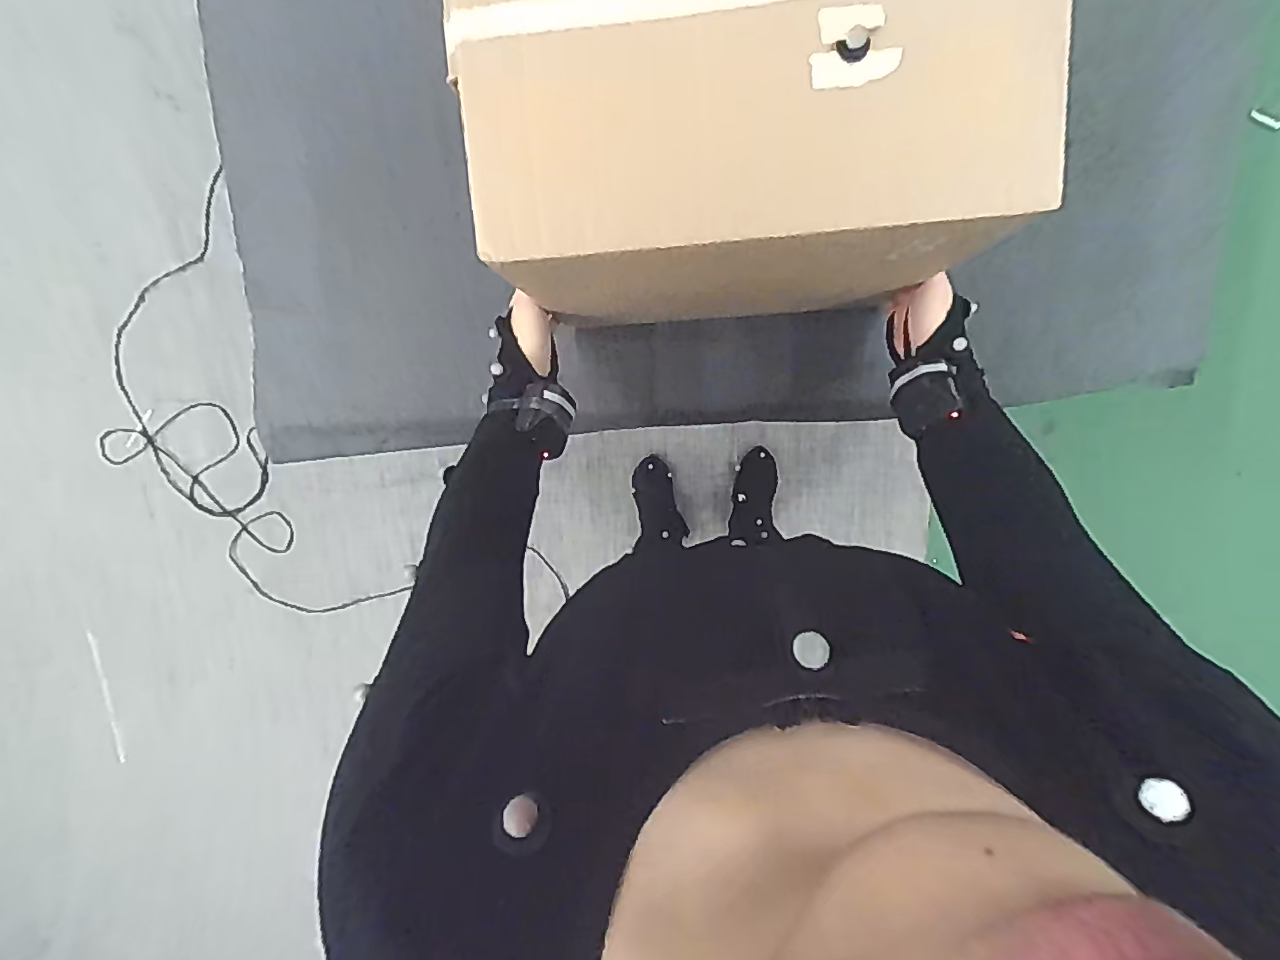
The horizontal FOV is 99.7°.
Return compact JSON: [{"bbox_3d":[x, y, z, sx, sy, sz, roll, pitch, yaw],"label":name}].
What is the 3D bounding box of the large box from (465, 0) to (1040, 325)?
[{"bbox_3d":[0.080,-0.350,0.527,0.408,0.320,0.320,-4,97,4],"label":"large box"}]
